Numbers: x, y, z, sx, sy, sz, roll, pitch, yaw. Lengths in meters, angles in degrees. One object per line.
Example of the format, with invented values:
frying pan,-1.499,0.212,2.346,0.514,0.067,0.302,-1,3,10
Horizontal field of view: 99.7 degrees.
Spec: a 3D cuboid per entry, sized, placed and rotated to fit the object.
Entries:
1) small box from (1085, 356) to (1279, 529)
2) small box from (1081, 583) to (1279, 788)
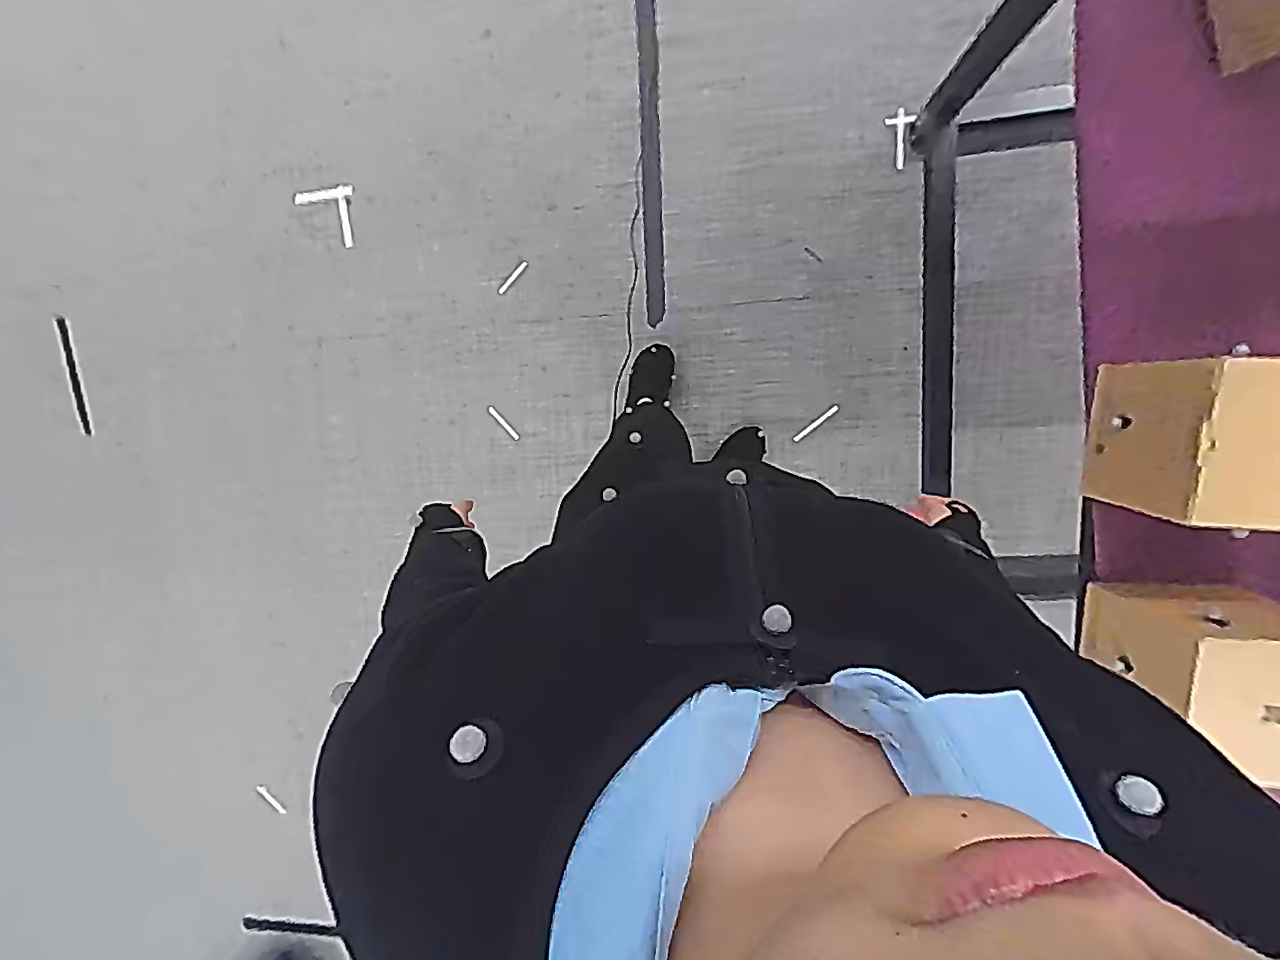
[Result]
small box,0.645,-0.046,0.587,0.179,0.176,0.168,3,100,8
small box,0.664,0.226,0.627,0.179,0.176,0.168,1,100,6
